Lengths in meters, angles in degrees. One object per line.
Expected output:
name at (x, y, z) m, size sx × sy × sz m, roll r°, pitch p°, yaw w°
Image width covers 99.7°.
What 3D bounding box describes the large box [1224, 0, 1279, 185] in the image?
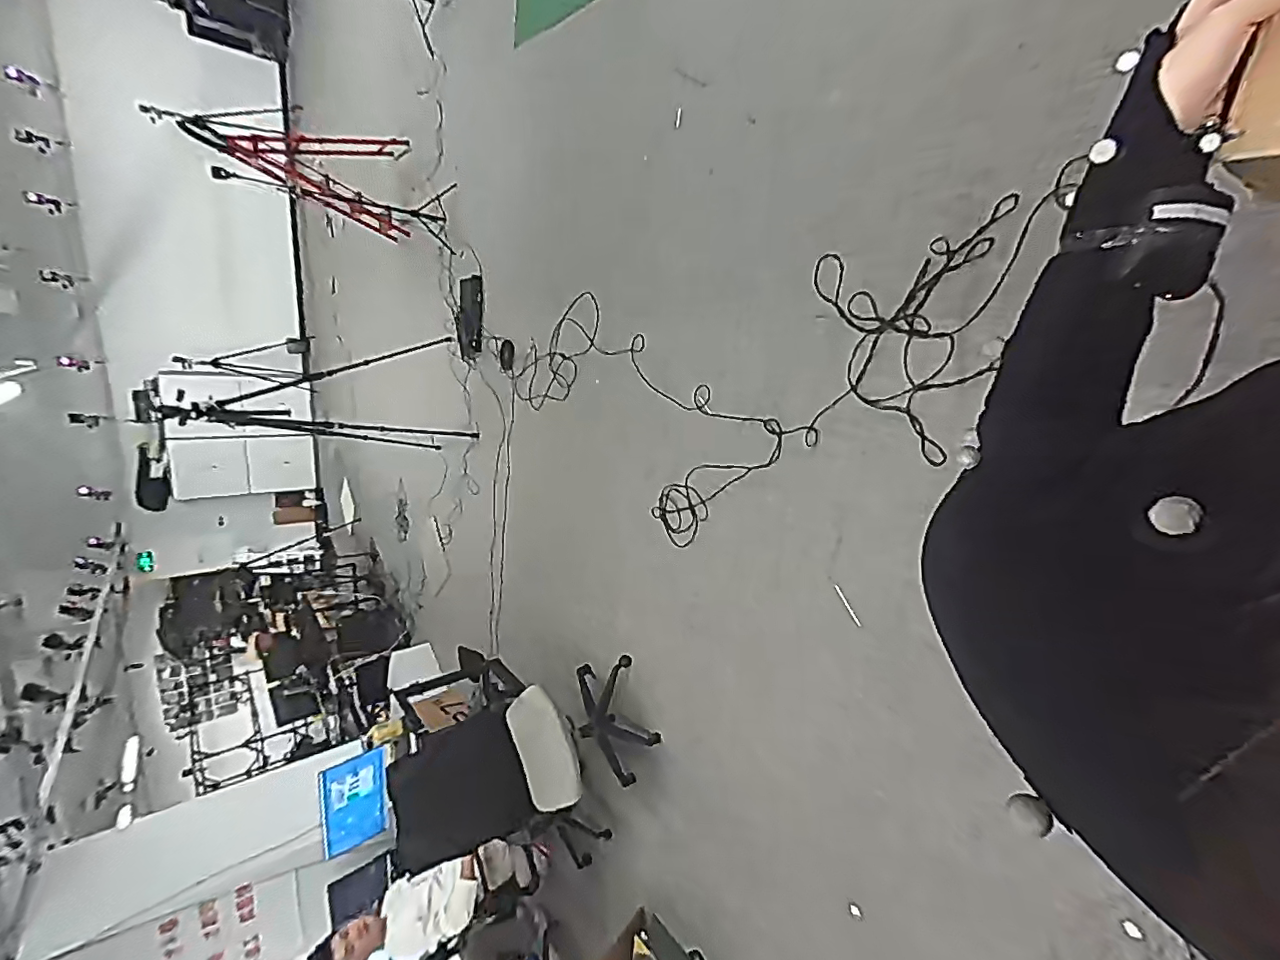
large box at (0.651, -0.345, 0.264) m, size 0.408 × 0.320 × 0.320 m, roll 26°, pitch 122°, yaw 49°
